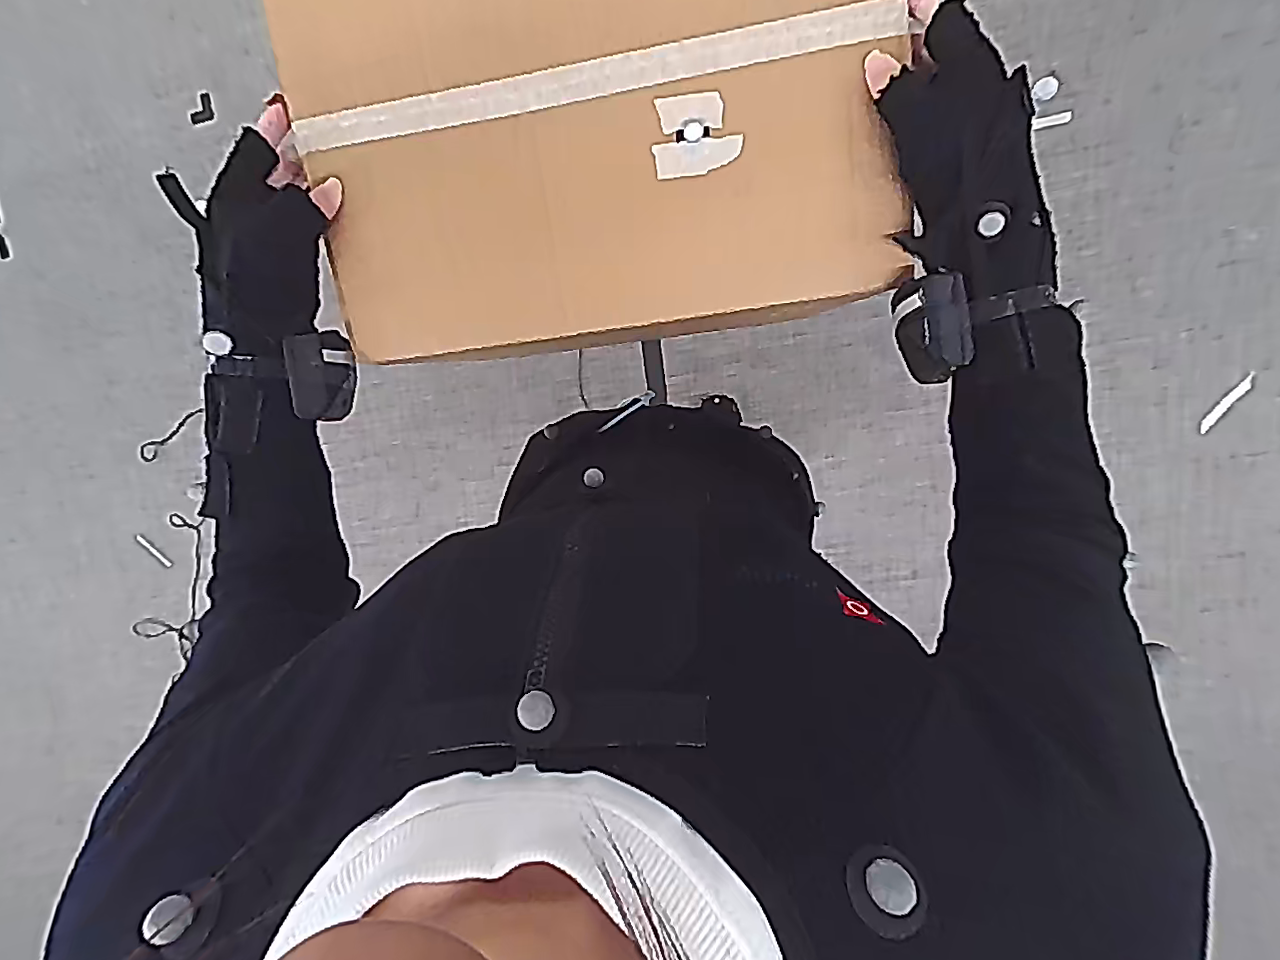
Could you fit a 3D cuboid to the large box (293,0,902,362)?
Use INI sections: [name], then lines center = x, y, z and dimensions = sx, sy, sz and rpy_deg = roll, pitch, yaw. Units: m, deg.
[large box]
center = -0.022, -0.298, 0.516
dimensions = 0.408, 0.320, 0.320
rpy_deg = -7, 103, 6
